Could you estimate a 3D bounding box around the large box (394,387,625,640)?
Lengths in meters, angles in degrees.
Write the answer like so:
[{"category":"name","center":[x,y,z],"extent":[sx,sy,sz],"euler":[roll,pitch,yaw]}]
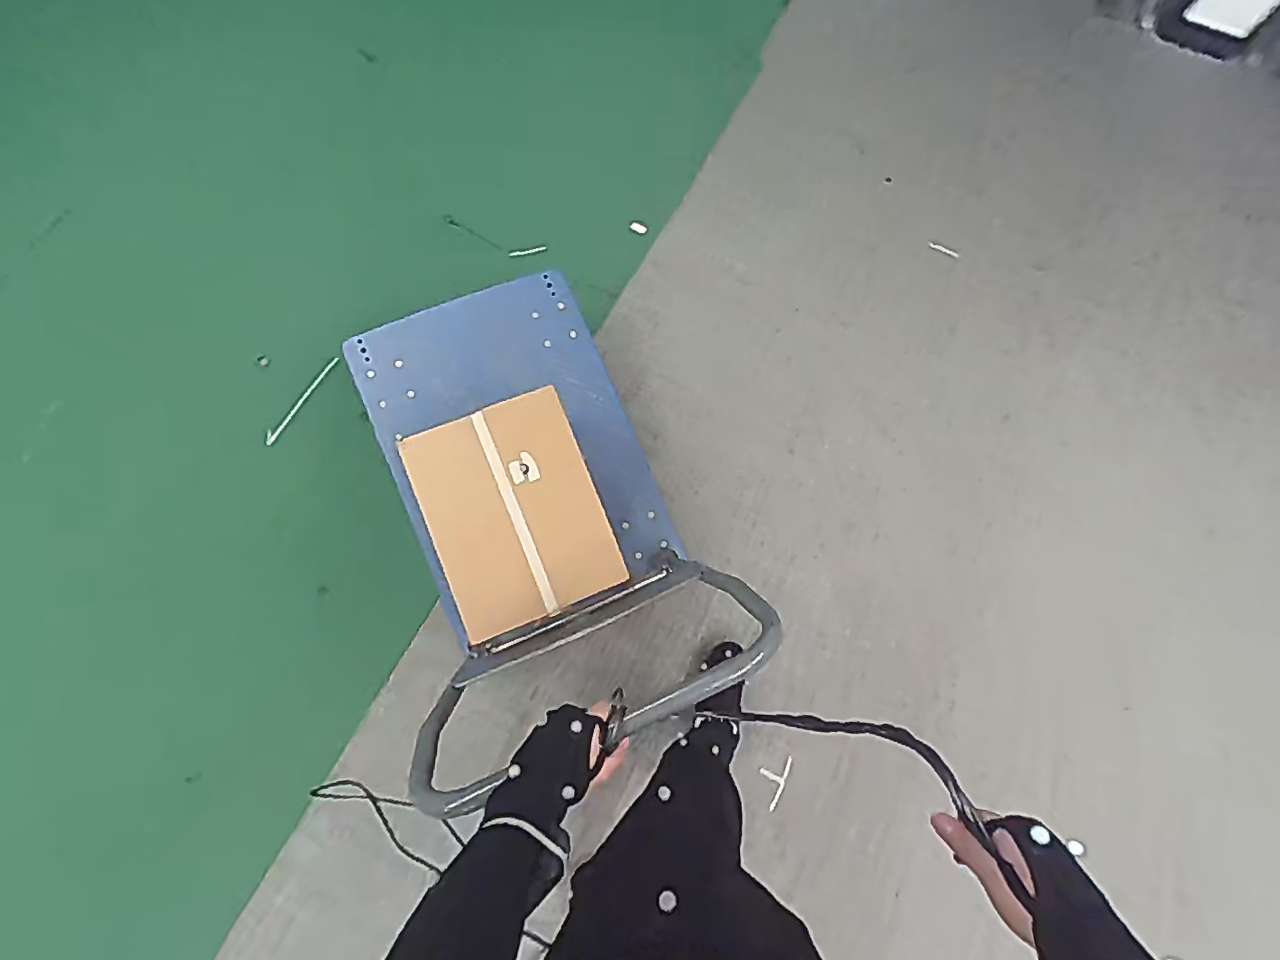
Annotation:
[{"category":"large box","center":[-0.256,0.074,1.157],"extent":[0.320,0.320,0.408],"euler":[-22,86,-9]}]
